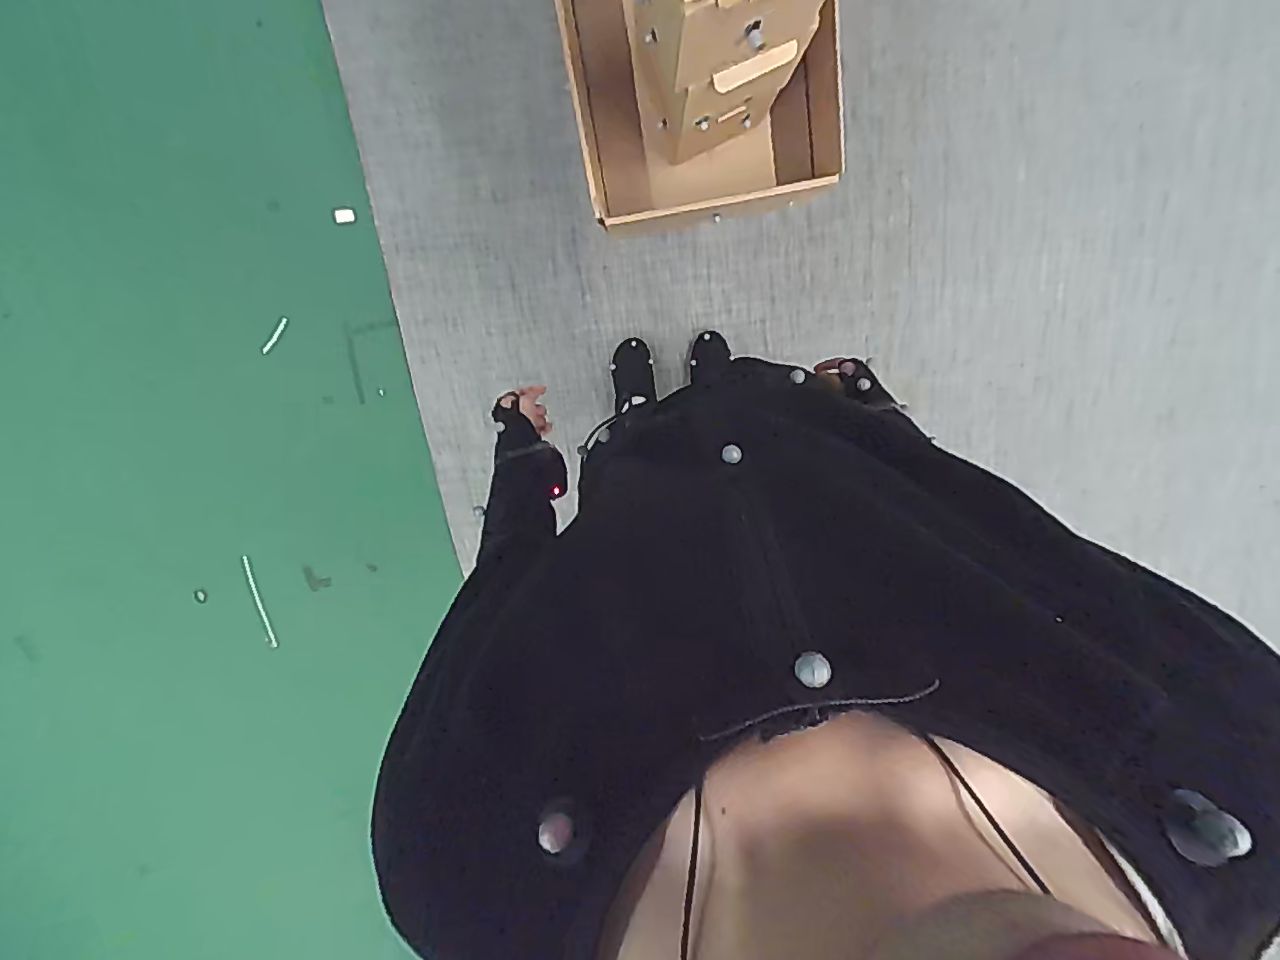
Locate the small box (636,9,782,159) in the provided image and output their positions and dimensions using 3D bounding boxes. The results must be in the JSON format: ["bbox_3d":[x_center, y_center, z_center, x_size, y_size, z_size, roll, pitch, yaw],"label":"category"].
[{"bbox_3d":[0.104,-0.634,0.847,0.168,0.176,0.179,-21,103,7],"label":"small box"}]

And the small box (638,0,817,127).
[{"bbox_3d":[0.101,-0.588,0.690,0.168,0.176,0.179,-22,103,7],"label":"small box"}]

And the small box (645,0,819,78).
[{"bbox_3d":[0.086,-0.540,0.533,0.168,0.176,0.179,-20,105,6],"label":"small box"}]
